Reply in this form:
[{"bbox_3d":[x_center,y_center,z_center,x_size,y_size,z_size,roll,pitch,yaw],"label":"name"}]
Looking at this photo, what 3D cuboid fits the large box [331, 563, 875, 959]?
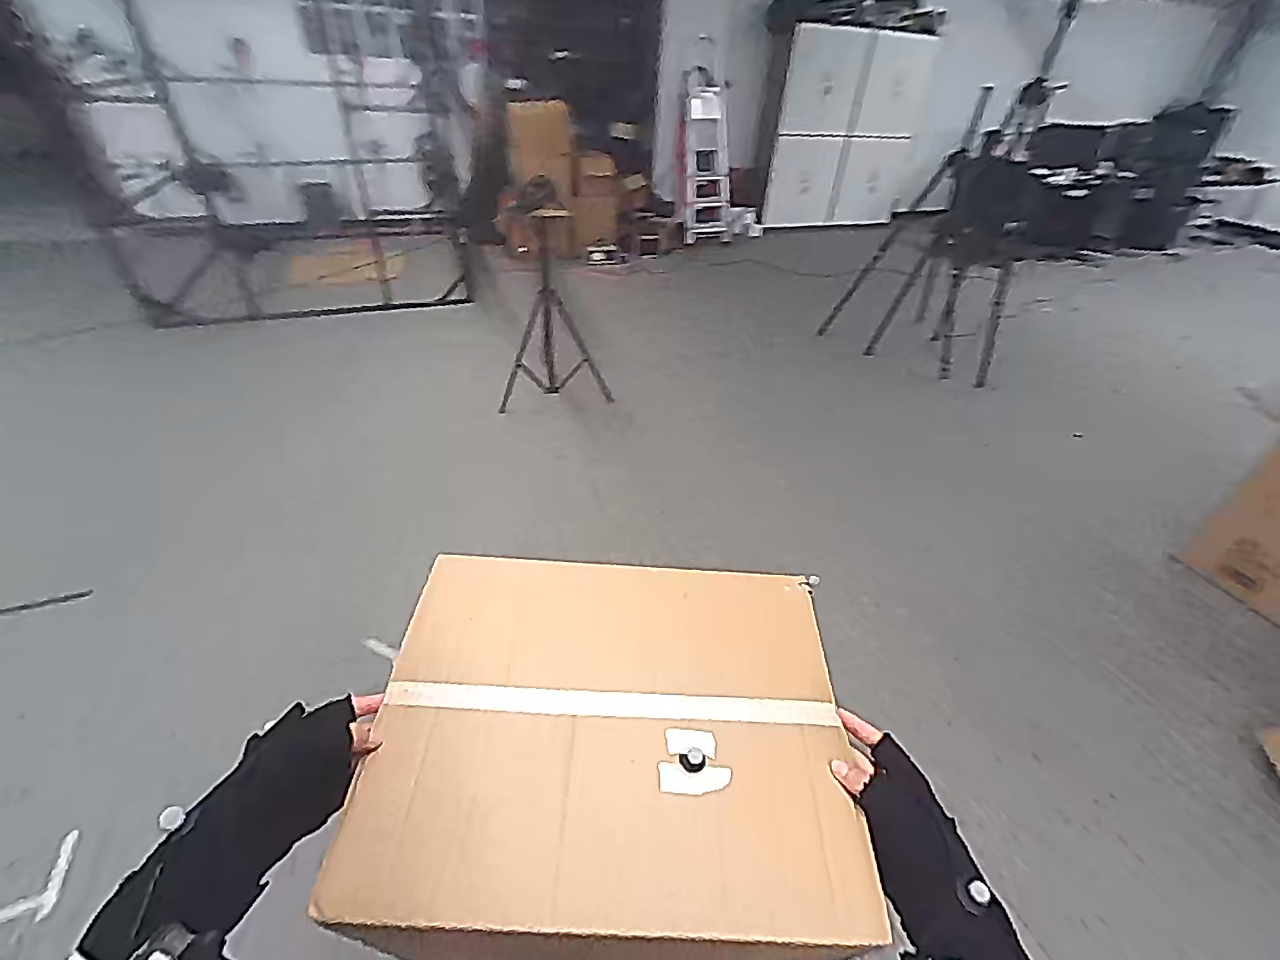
[{"bbox_3d":[-0.034,0.314,0.597,0.408,0.320,0.320,4,44,-3],"label":"large box"}]
